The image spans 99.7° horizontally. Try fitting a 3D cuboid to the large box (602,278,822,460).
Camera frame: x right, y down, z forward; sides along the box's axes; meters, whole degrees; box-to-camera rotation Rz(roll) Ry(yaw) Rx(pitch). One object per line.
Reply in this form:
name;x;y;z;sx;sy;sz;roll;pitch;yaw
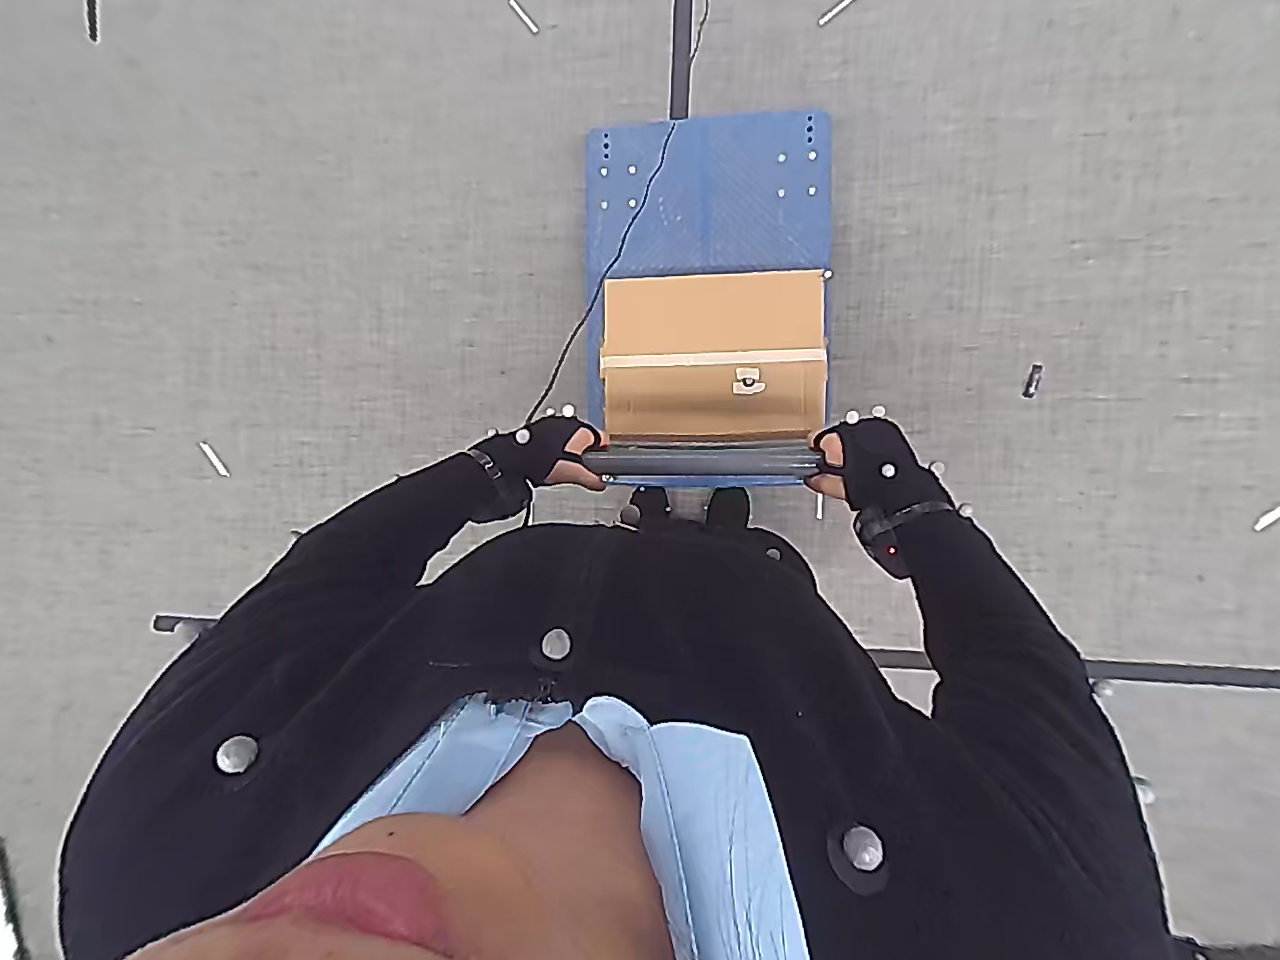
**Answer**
large box;0.144;-0.208;1.145;0.408;0.320;0.320;0;91;6
